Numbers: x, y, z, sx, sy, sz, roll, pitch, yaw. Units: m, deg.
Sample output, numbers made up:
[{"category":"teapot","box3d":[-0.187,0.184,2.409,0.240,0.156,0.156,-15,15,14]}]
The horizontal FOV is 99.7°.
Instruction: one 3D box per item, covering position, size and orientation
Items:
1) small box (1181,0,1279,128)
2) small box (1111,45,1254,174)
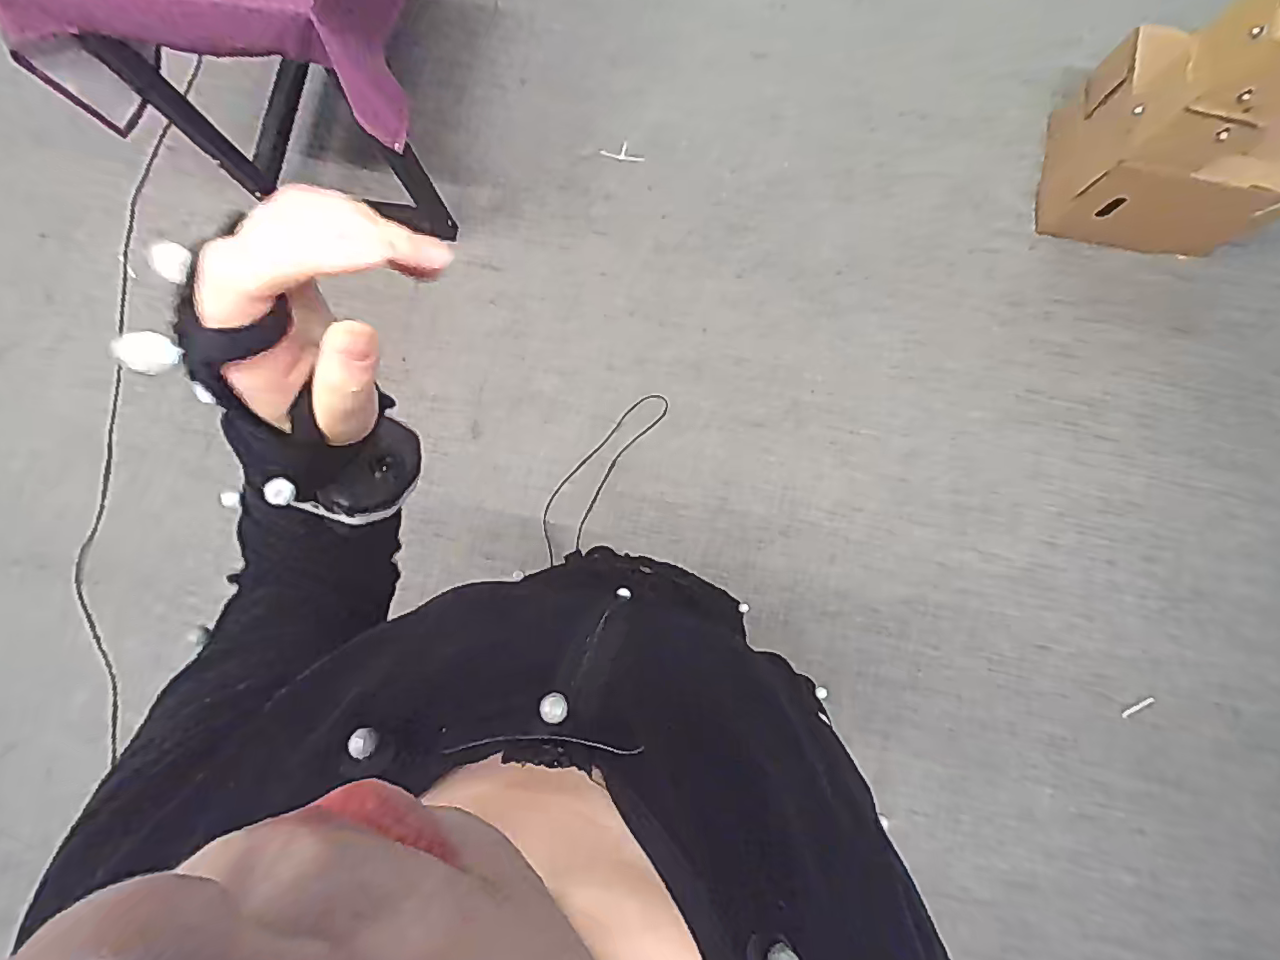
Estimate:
[{"category":"small box","box3d":[1.262,-0.868,1.095,0.168,0.176,0.179,15,84,2]},{"category":"small box","box3d":[1.261,-0.849,1.257,0.179,0.176,0.168,14,82,2]}]
